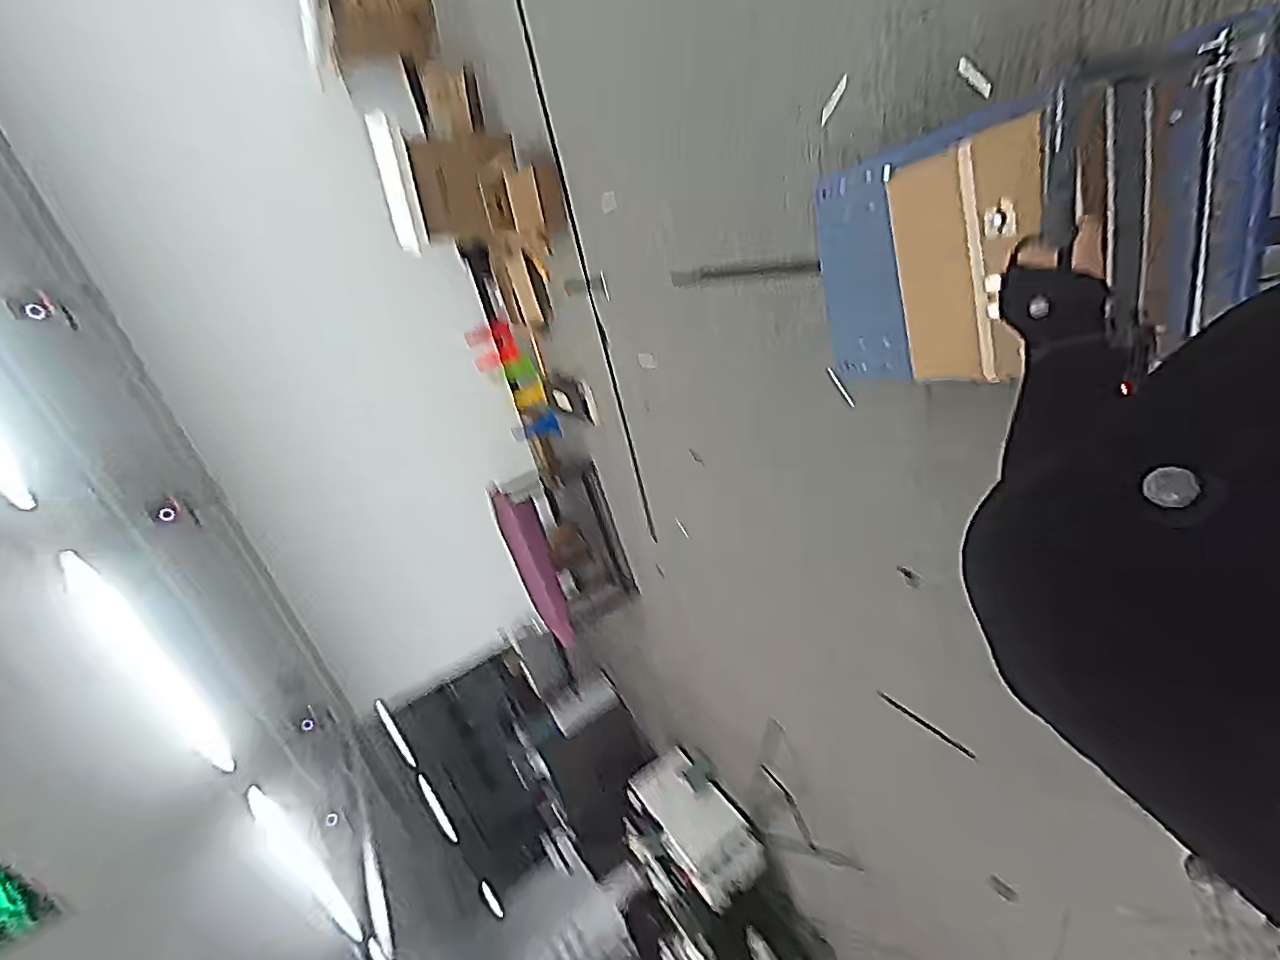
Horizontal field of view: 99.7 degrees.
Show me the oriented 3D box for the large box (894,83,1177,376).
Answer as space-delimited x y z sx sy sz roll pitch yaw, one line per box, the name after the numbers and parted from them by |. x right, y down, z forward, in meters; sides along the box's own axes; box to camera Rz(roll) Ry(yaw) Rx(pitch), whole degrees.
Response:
0.734 -0.437 1.008 0.320 0.320 0.408 12 122 59 | large box
